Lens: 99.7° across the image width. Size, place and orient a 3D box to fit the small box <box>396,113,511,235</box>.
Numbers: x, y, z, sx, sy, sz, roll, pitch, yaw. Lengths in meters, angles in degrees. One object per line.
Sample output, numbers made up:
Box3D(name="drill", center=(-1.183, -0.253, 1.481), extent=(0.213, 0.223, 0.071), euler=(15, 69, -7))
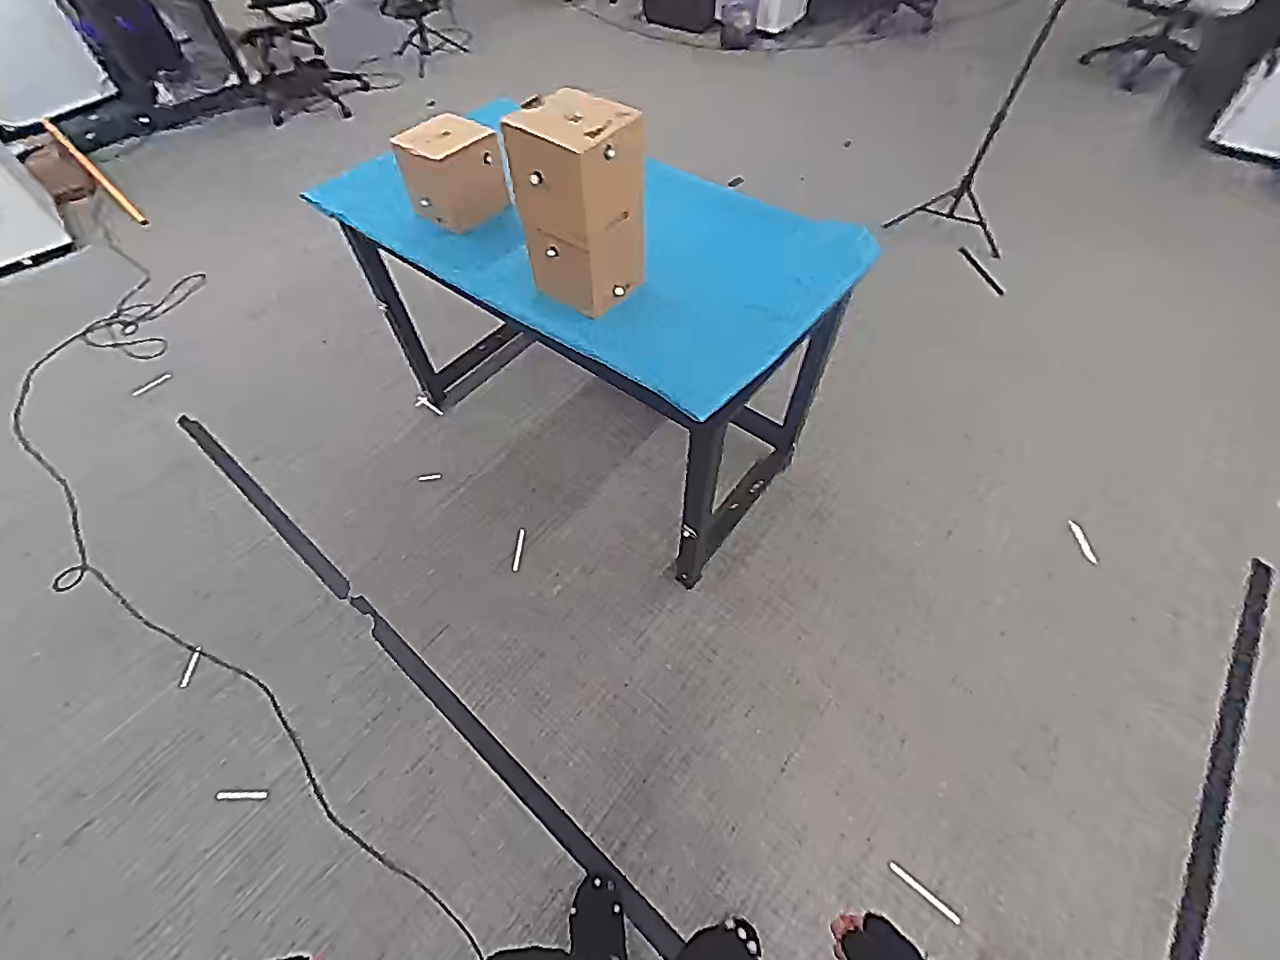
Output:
Box3D(name="small box", center=(-0.424, -0.714, 1.266), extent=(0.168, 0.176, 0.179), euler=(36, 66, 24))

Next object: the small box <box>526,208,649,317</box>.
Box3D(name="small box", center=(-0.099, -0.459, 1.087), extent=(0.179, 0.176, 0.168), euler=(33, 64, 22))

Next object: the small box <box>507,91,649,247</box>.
Box3D(name="small box", center=(-0.101, -0.540, 0.946), extent=(0.179, 0.176, 0.168), euler=(30, 62, 19))
